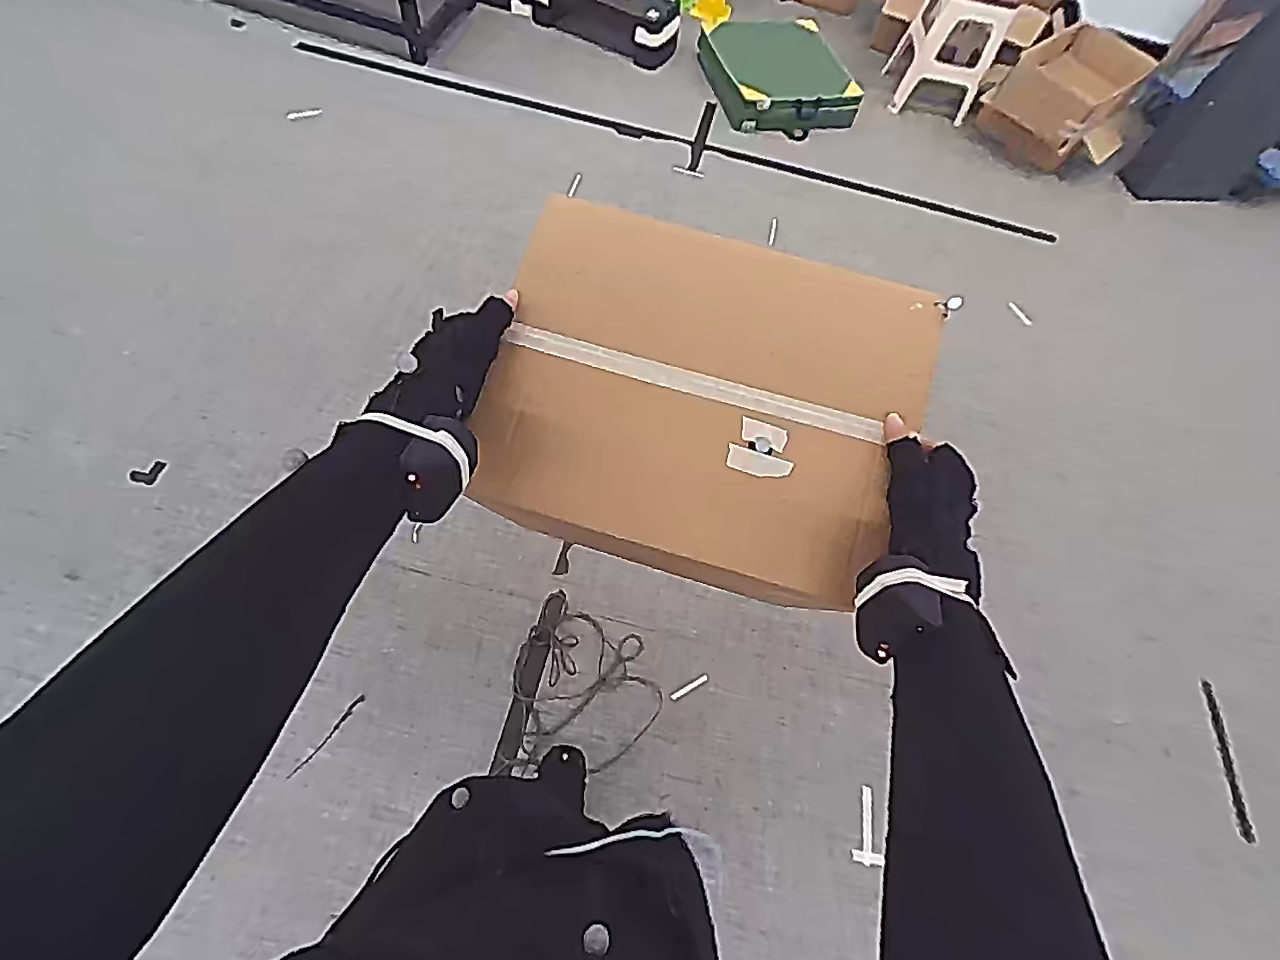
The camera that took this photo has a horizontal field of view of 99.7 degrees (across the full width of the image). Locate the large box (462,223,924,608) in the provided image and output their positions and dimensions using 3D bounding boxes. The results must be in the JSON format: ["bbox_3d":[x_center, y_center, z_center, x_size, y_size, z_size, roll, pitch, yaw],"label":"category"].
[{"bbox_3d":[0.056,-0.047,0.674,0.408,0.320,0.320,16,80,2],"label":"large box"}]
